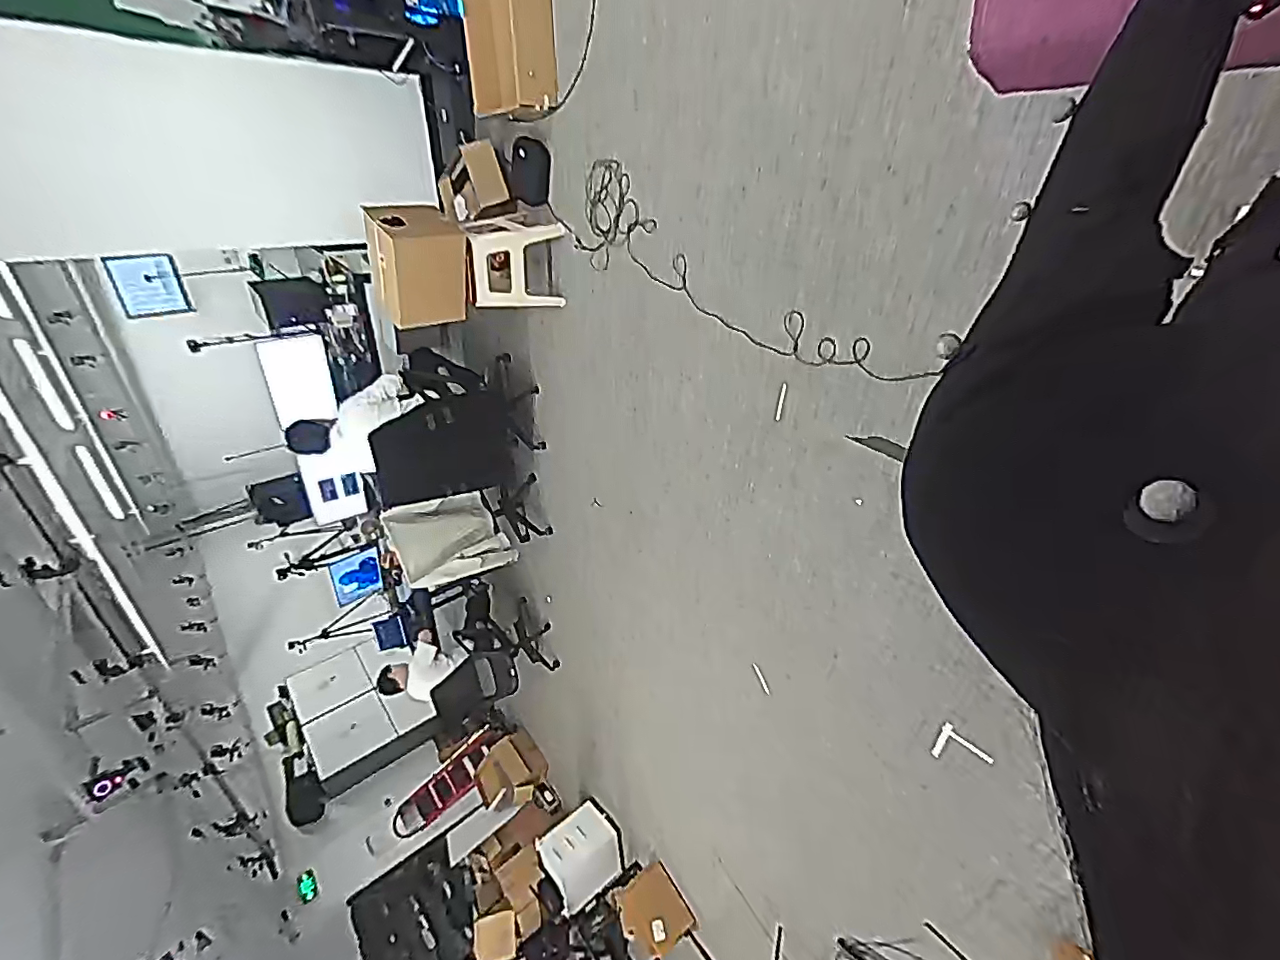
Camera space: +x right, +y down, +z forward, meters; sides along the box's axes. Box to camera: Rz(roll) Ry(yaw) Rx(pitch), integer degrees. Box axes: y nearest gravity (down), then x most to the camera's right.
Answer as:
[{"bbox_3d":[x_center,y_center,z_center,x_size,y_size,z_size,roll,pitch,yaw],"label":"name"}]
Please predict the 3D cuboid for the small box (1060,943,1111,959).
[{"bbox_3d":[1.367,1.550,1.603,0.168,0.176,0.179,-21,90,55],"label":"small box"}]
